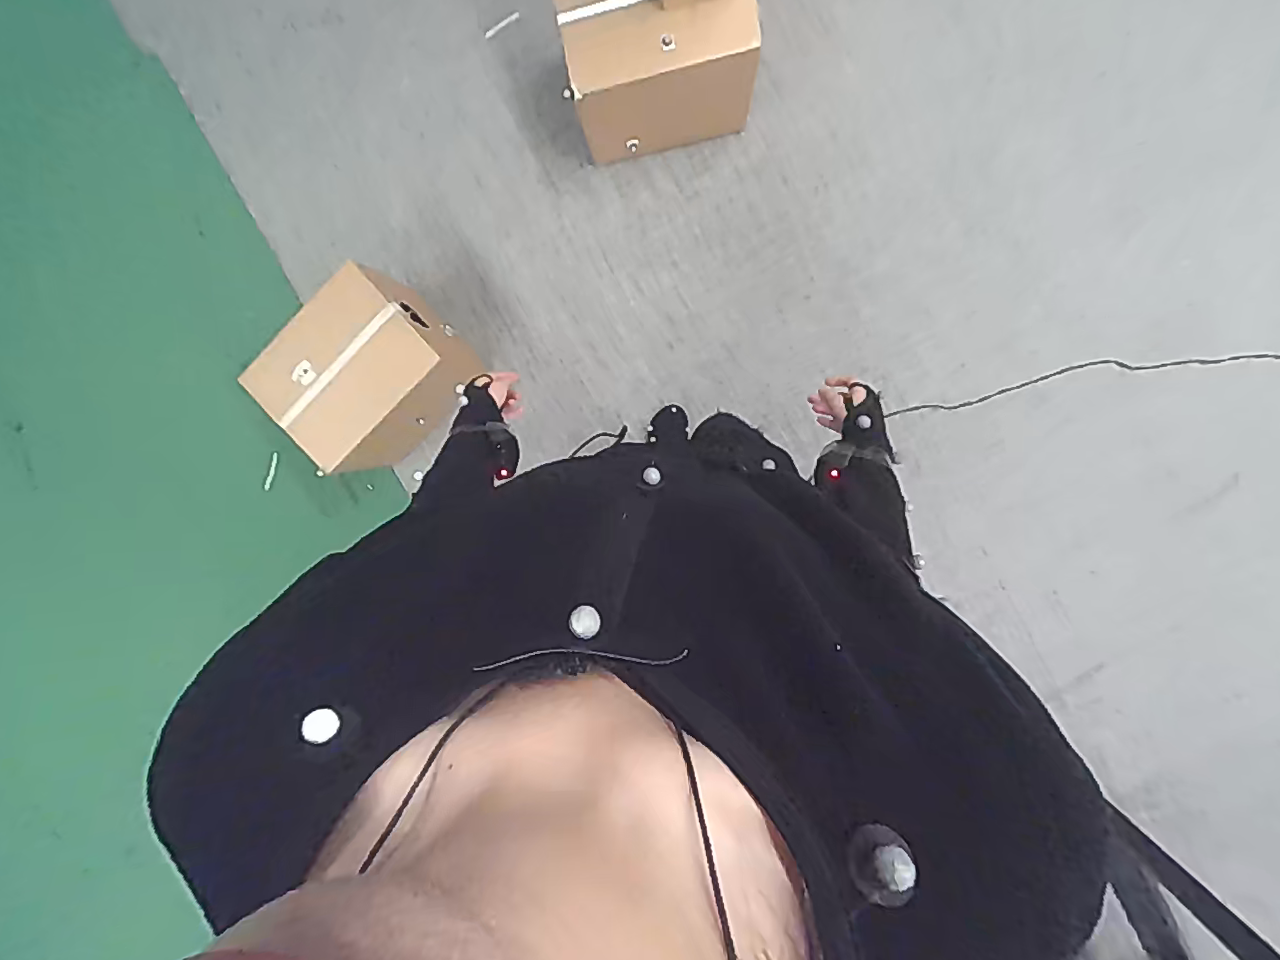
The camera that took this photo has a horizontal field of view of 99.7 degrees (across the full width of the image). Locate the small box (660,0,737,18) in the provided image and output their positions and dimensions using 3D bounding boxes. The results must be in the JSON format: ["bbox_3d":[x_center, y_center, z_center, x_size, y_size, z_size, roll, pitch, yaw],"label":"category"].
[{"bbox_3d":[0.105,-1.036,1.015,0.168,0.176,0.179,-10,93,6],"label":"small box"}]

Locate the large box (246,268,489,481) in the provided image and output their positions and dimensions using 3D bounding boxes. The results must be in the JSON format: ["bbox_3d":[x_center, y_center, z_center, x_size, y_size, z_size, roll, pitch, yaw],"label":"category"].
[{"bbox_3d":[-0.675,-0.256,1.399,0.408,0.320,0.320,-43,90,8],"label":"large box"}]
